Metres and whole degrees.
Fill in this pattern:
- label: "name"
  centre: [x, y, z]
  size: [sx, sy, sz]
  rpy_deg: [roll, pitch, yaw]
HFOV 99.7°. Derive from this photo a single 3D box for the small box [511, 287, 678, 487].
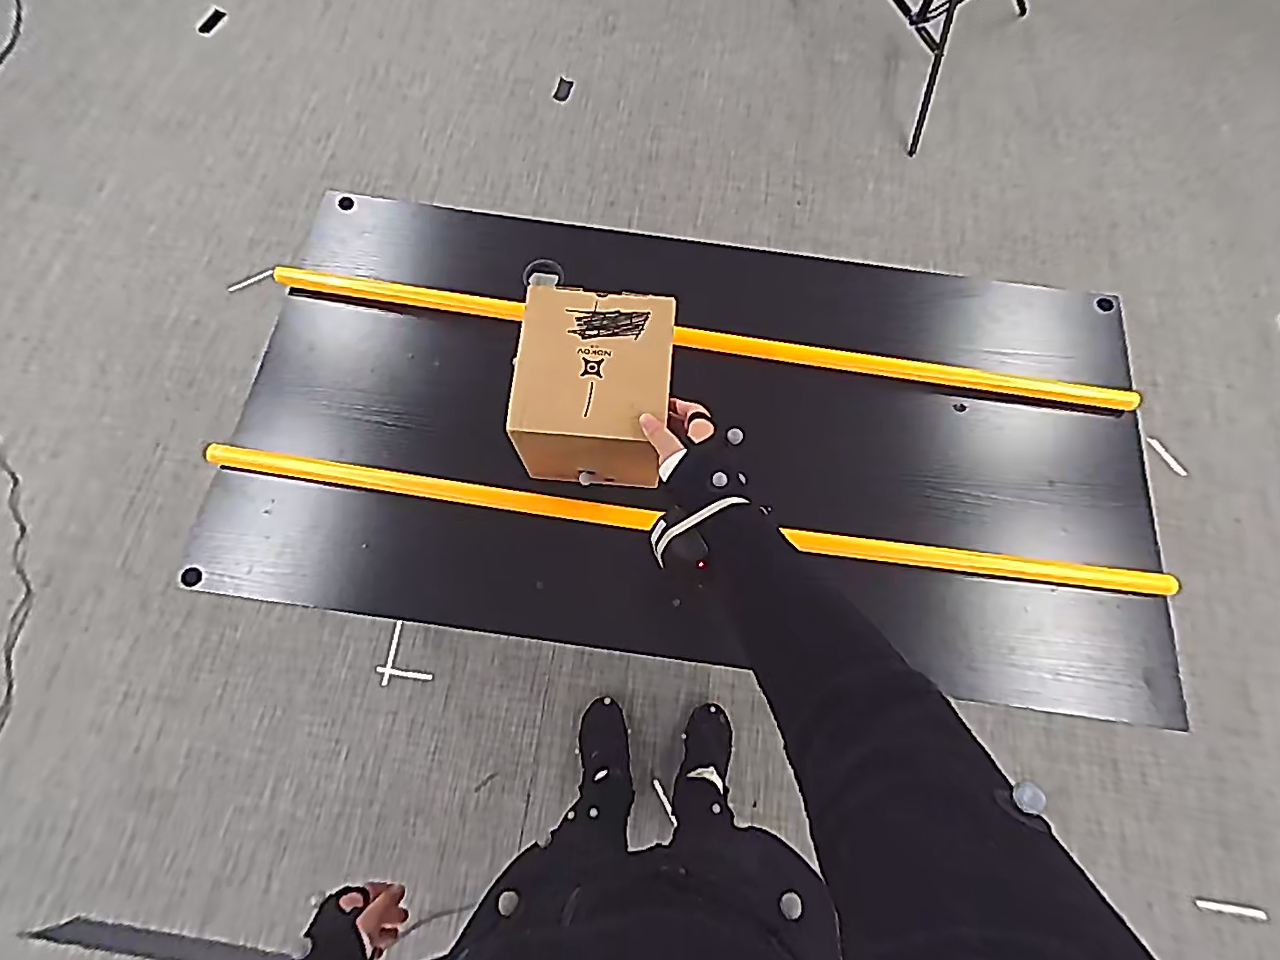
- label: "small box"
  centre: [-0.048, -0.104, 0.658]
  size: [0.168, 0.176, 0.179]
  rpy_deg: [5, 73, 0]
